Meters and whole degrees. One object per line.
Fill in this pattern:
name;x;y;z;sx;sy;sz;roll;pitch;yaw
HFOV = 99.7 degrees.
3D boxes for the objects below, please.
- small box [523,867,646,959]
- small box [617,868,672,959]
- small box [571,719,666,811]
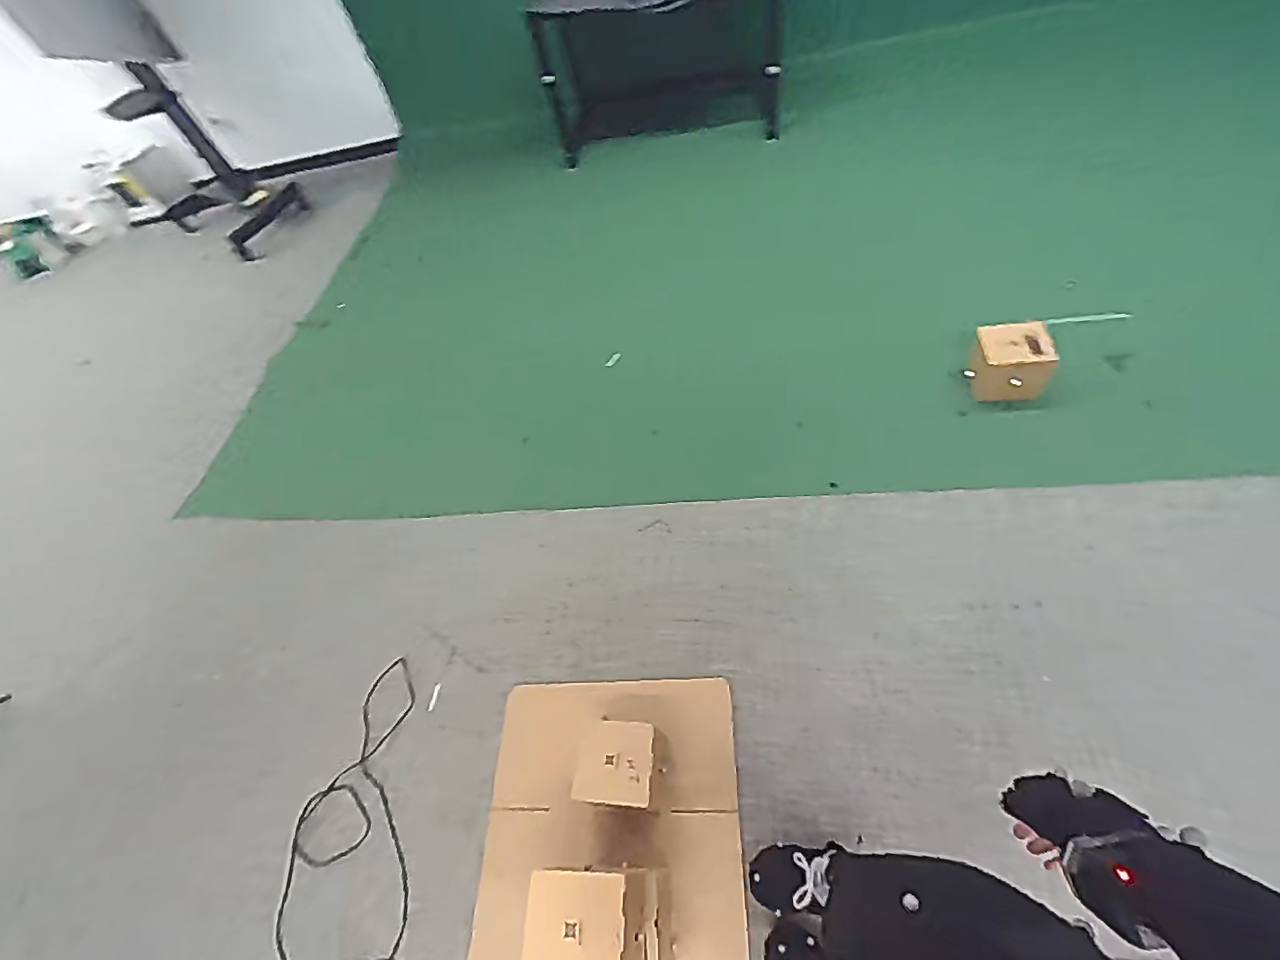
small box;-0.093;0.802;0.972;0.179;0.176;0.168;-6;55;11
small box;-0.032;0.893;1.096;0.179;0.176;0.168;-8;55;9
small box;-0.042;0.665;1.257;0.179;0.176;0.168;-2;57;12
